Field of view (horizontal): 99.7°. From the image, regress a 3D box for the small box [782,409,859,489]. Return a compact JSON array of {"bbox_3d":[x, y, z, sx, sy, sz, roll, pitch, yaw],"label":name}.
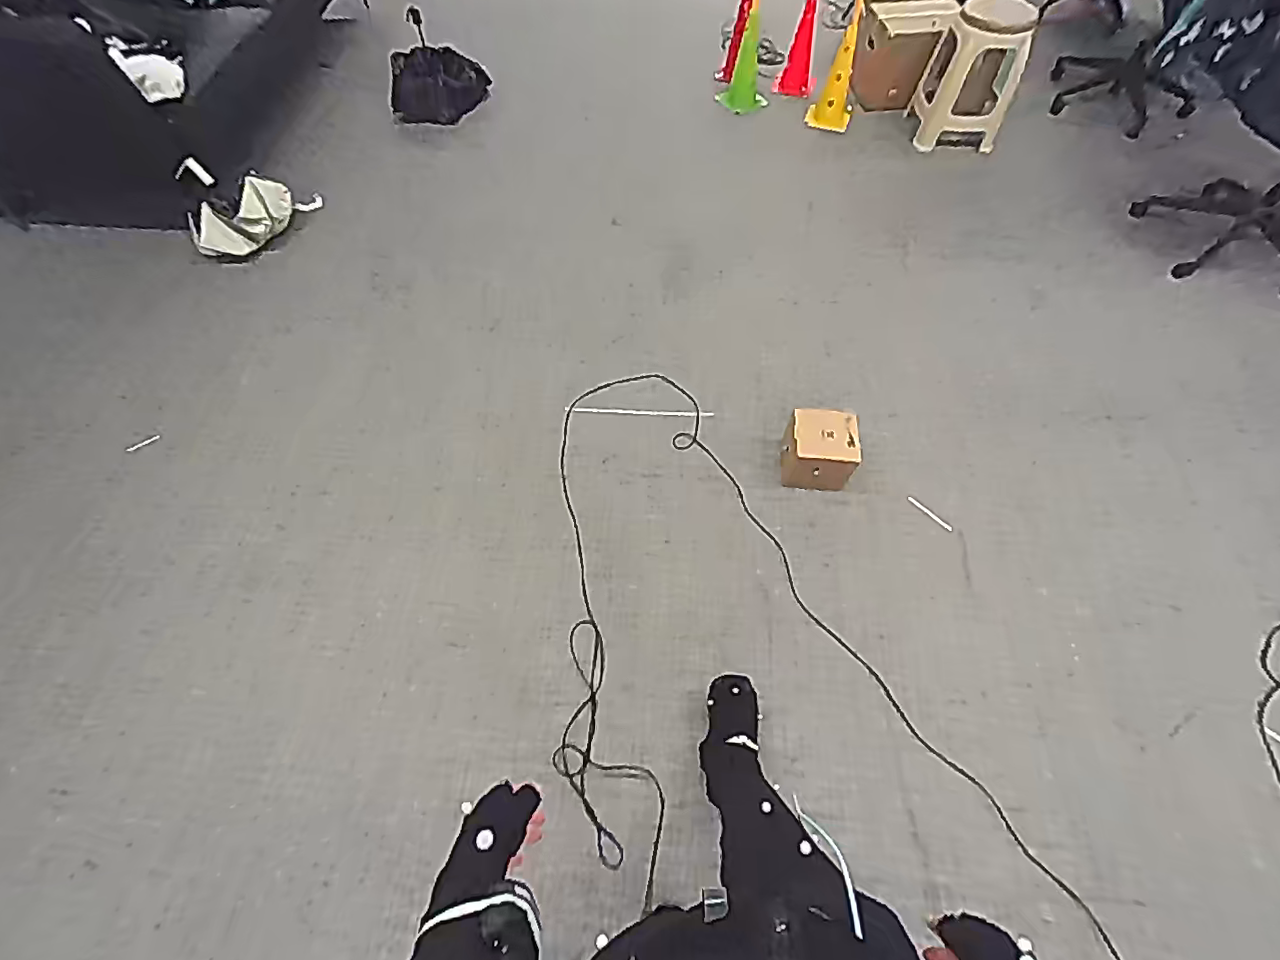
[{"bbox_3d":[0.510,-0.086,1.561,0.179,0.176,0.168,4,61,3],"label":"small box"}]
